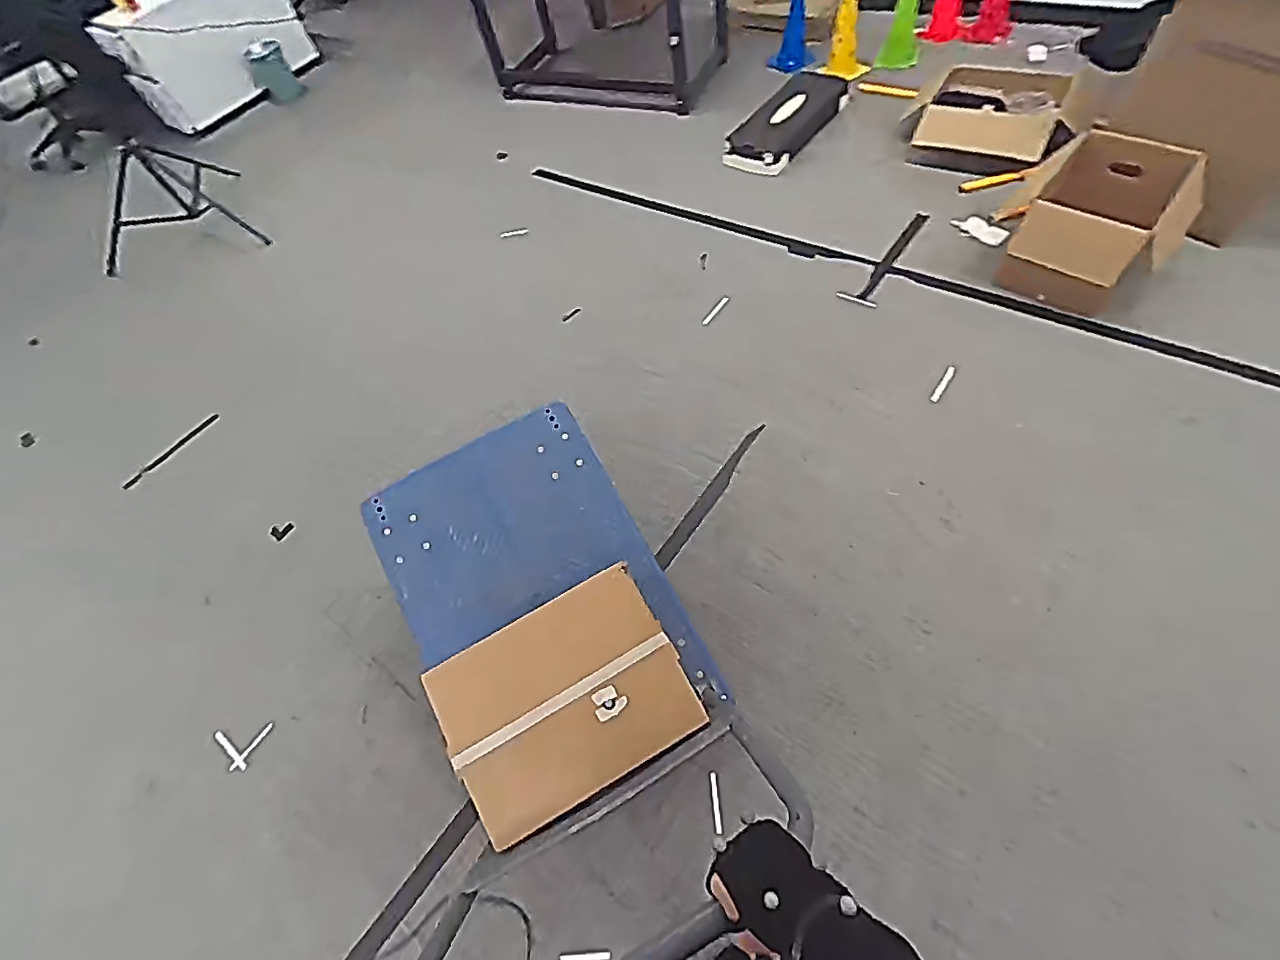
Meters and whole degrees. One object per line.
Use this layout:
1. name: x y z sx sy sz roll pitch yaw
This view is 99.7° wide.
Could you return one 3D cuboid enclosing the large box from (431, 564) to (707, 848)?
1. large box: -0.126 0.423 1.086 0.408 0.320 0.320 -30 76 -8
